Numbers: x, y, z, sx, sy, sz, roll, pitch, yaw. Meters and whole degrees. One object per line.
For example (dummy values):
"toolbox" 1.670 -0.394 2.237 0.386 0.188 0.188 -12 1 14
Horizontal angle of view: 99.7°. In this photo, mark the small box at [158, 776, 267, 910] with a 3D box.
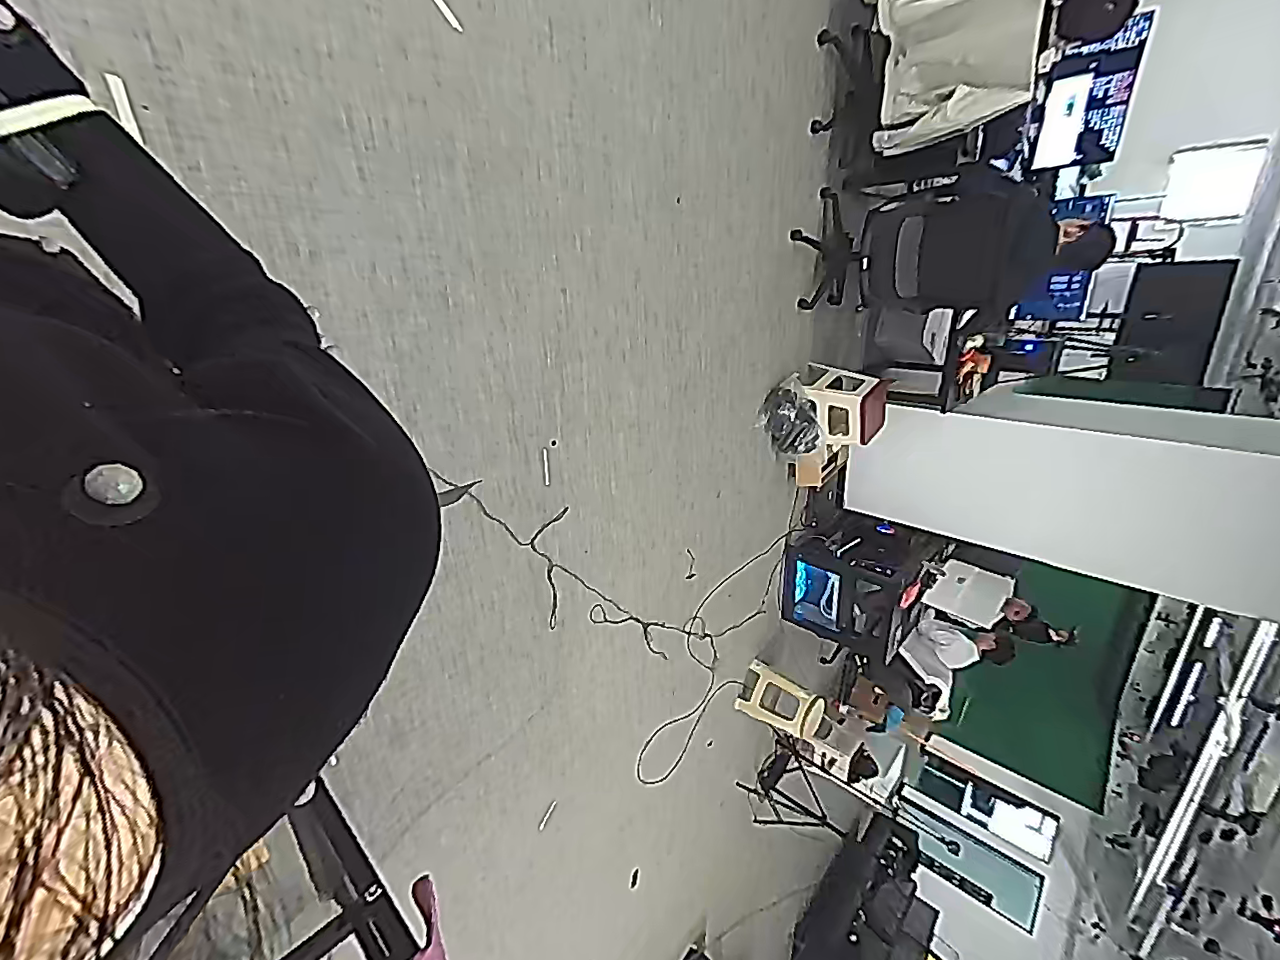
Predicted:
"small box" -1.054 0.884 1.335 0.168 0.176 0.179 -20 118 -44

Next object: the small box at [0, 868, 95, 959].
"small box" -1.269 0.964 1.117 0.168 0.176 0.179 -23 118 -43
